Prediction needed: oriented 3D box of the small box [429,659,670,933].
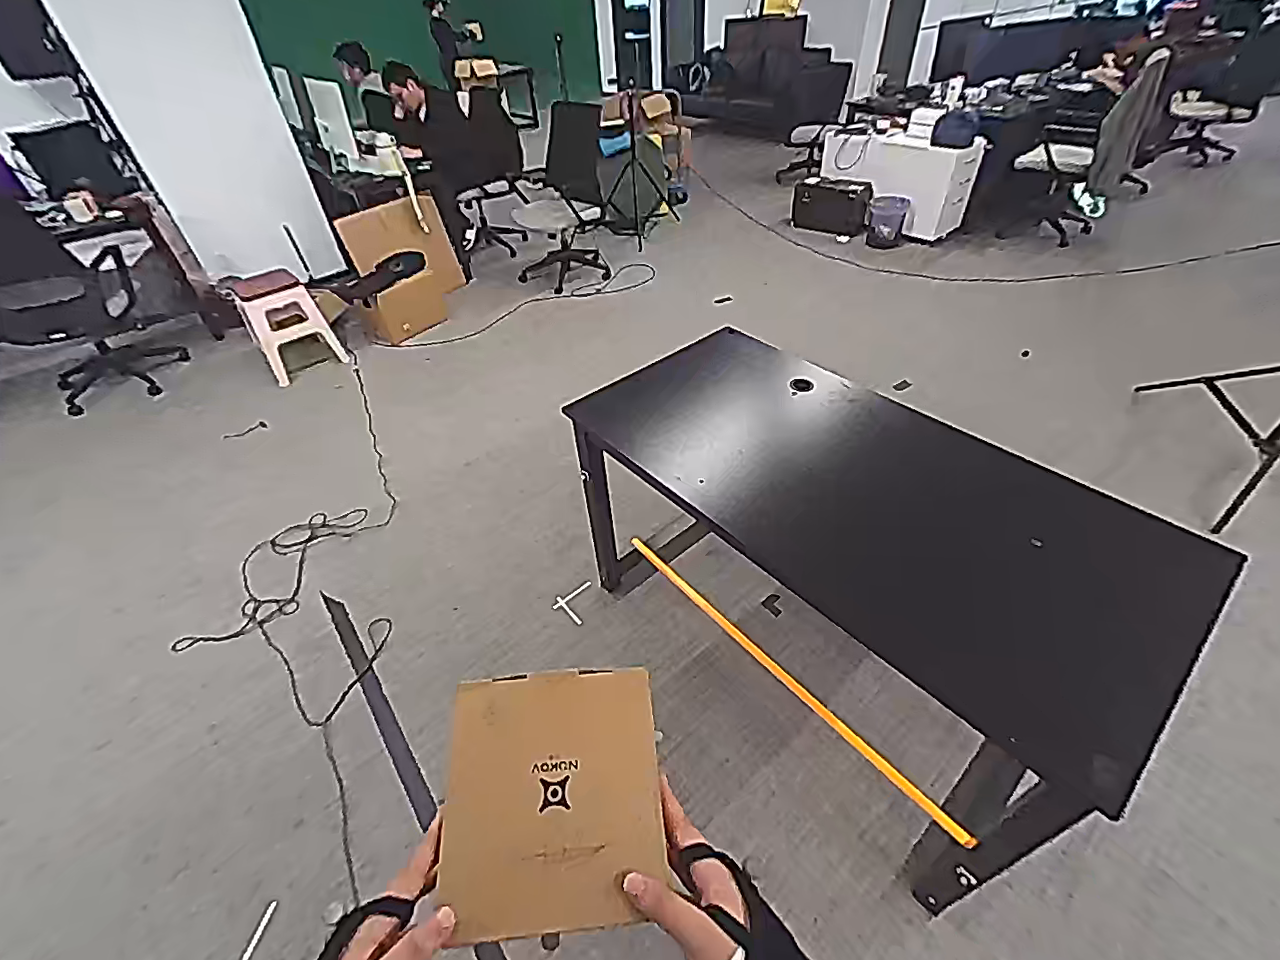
[{"bbox_3d":[-0.072,0.275,0.478,0.168,0.176,0.179,-2,54,-6],"label":"small box"}]
